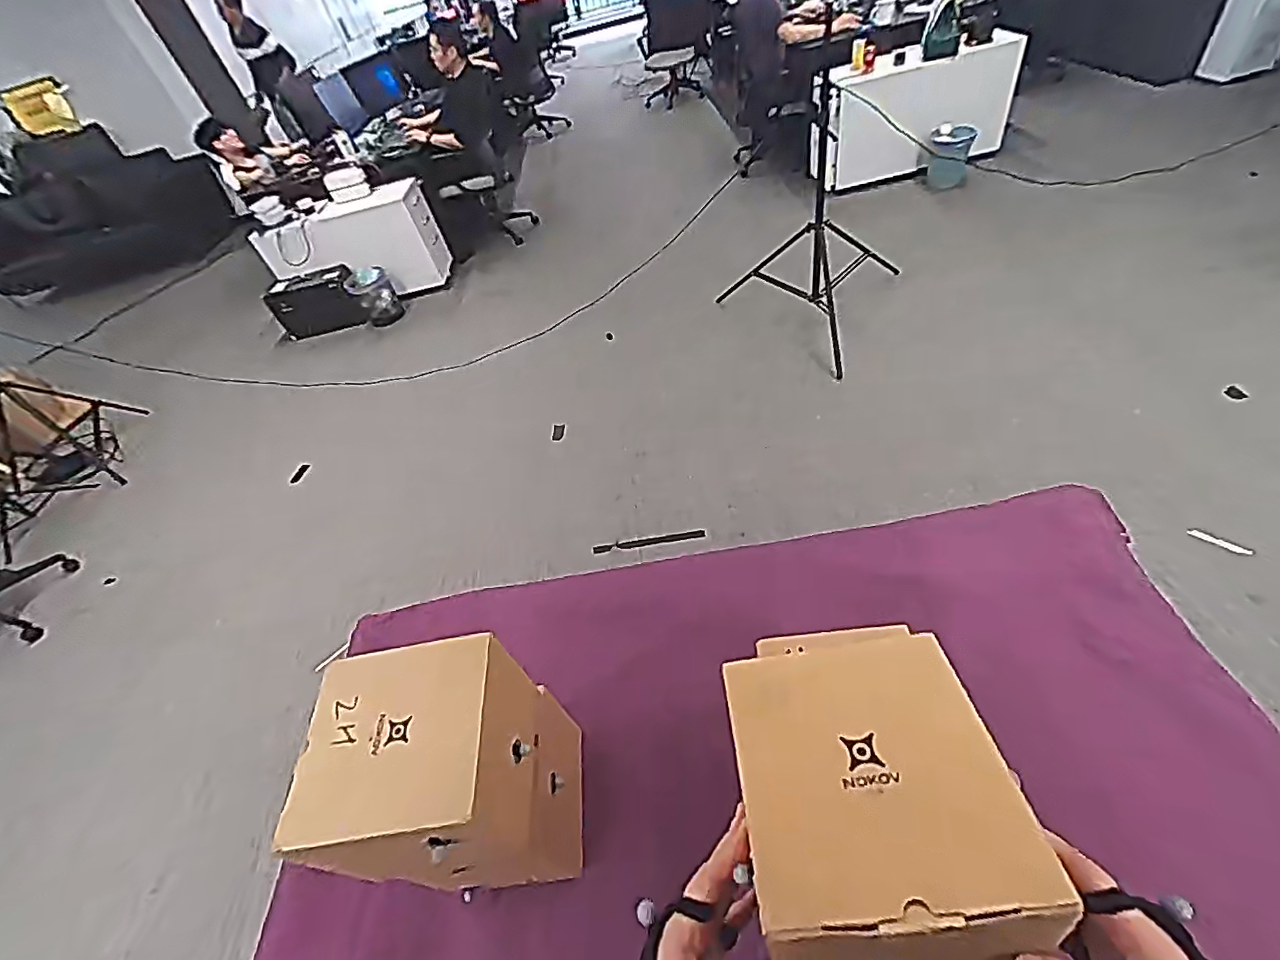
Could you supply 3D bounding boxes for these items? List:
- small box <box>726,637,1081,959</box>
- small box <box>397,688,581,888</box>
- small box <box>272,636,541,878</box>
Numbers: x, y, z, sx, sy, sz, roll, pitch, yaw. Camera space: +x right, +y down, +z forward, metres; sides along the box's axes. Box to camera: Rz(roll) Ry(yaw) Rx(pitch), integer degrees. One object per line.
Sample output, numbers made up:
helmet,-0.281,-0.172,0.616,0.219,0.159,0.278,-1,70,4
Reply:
small box,0.163,0.247,0.400,0.168,0.176,0.179,-10,35,6
small box,-0.173,0.385,0.667,0.168,0.176,0.179,-11,45,5
small box,-0.207,0.281,0.543,0.179,0.176,0.168,-12,46,4
